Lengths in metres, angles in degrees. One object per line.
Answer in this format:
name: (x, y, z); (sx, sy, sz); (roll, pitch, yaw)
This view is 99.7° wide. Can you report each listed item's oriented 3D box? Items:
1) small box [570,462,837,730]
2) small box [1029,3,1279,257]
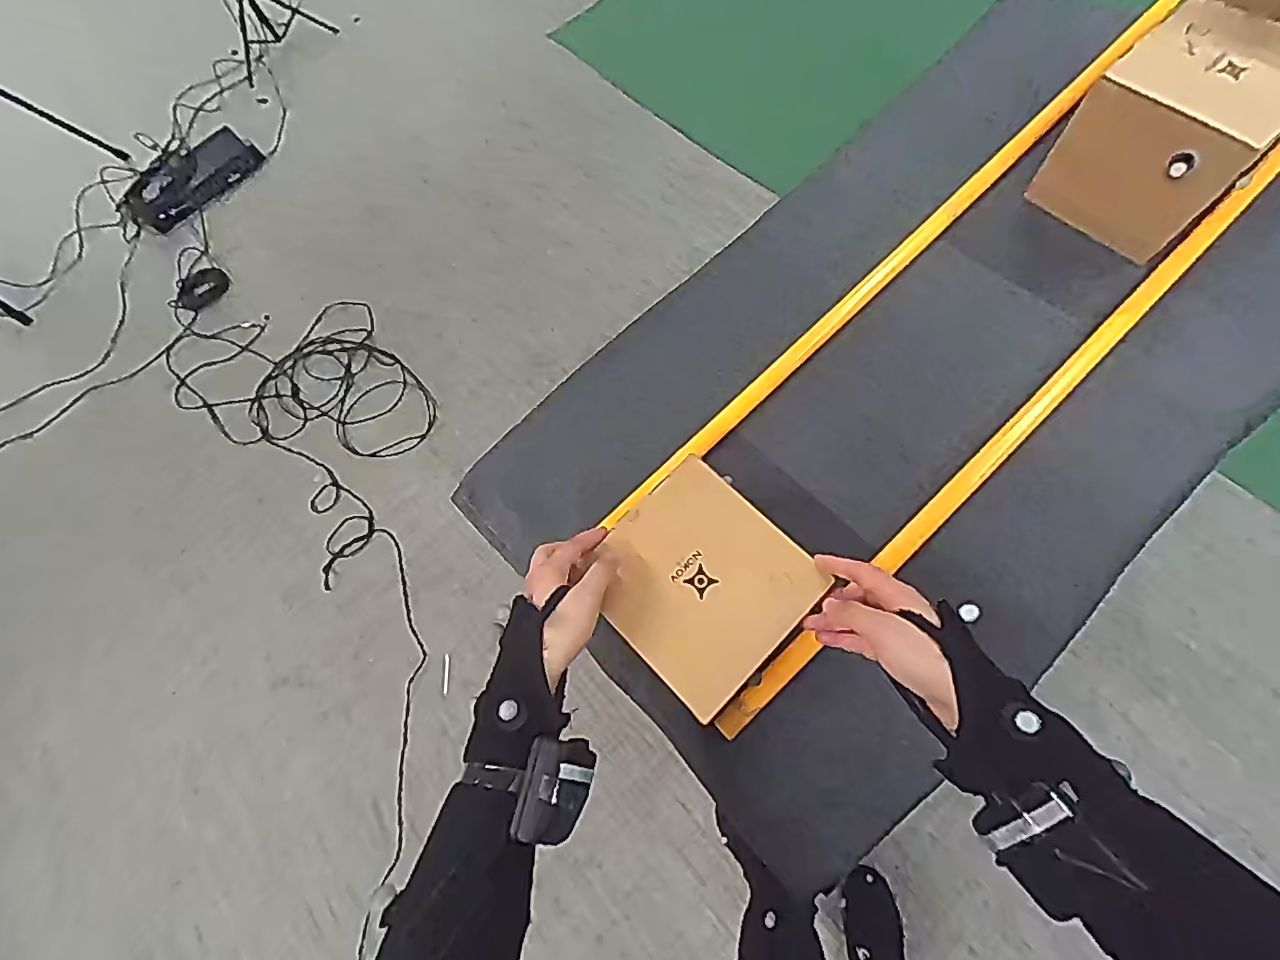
small box: (0.061, 0.117, 0.546); (0.168, 0.176, 0.179); (-44, 71, -10)
small box: (0.632, -0.403, 0.649); (0.168, 0.176, 0.179); (-40, 70, -7)
